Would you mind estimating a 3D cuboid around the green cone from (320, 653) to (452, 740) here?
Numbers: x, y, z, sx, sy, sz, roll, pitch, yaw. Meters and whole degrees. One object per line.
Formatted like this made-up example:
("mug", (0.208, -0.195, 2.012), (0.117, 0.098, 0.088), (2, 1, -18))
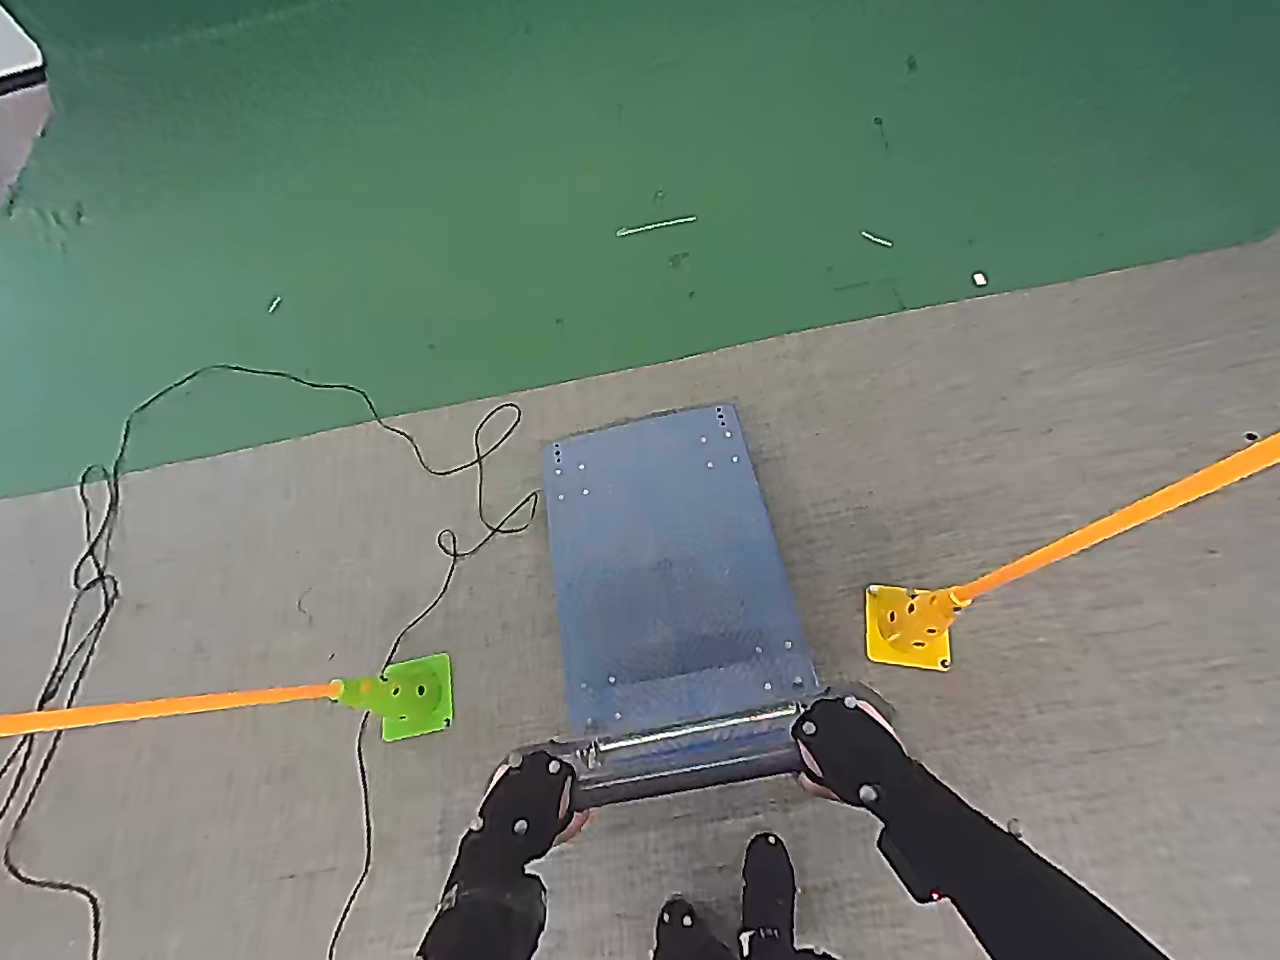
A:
("green cone", (-0.649, 0.527, 1.344), (0.202, 0.368, 0.200), (-15, 64, 4))
